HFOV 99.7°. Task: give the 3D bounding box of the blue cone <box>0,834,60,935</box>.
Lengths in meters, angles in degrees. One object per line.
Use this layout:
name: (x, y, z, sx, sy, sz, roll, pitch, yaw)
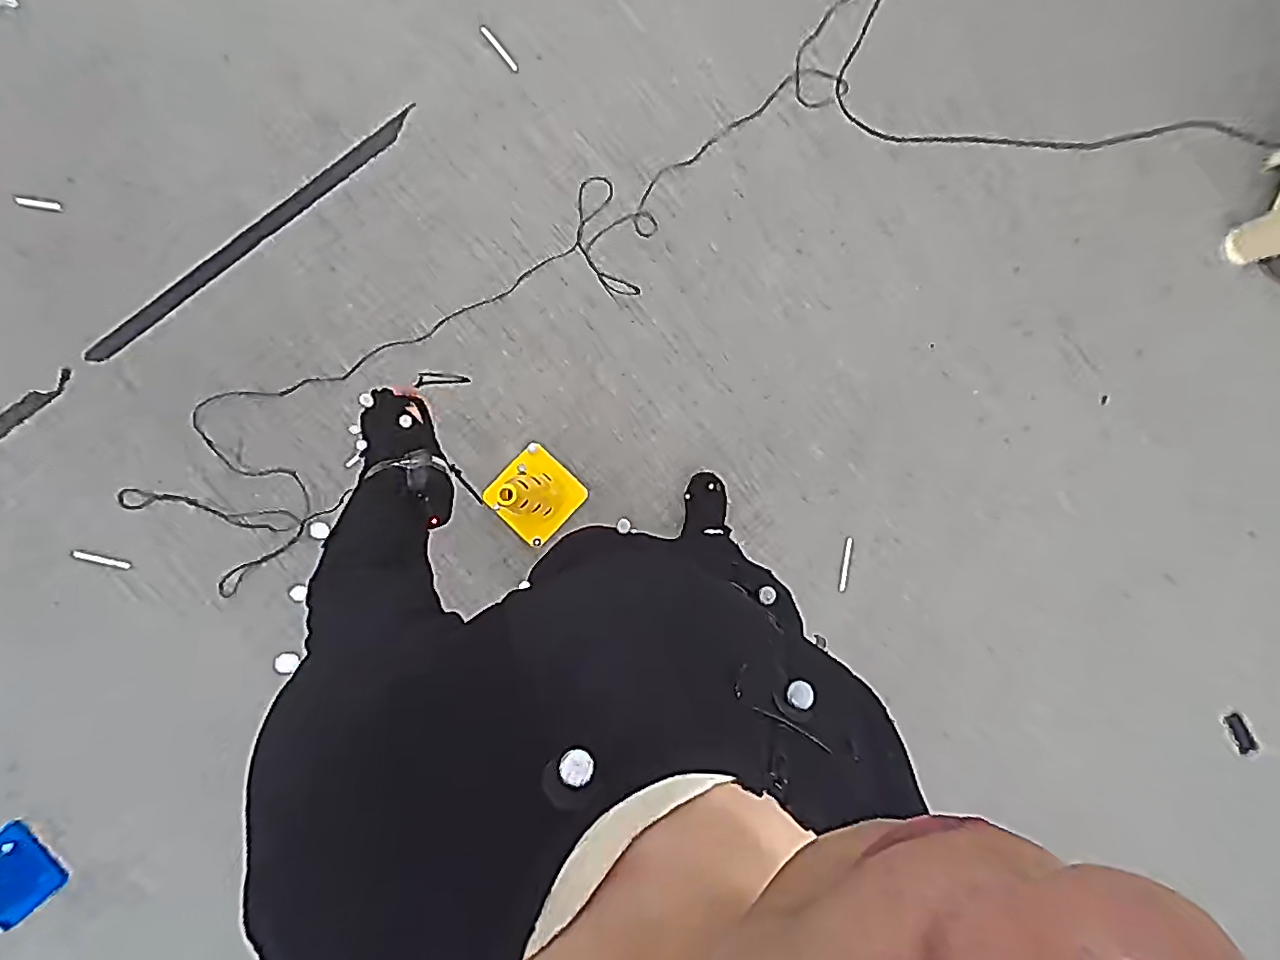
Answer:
blue cone: (-1.498, 0.957, 1.121, 0.193, 0.380, 0.192, -39, 91, -3)
